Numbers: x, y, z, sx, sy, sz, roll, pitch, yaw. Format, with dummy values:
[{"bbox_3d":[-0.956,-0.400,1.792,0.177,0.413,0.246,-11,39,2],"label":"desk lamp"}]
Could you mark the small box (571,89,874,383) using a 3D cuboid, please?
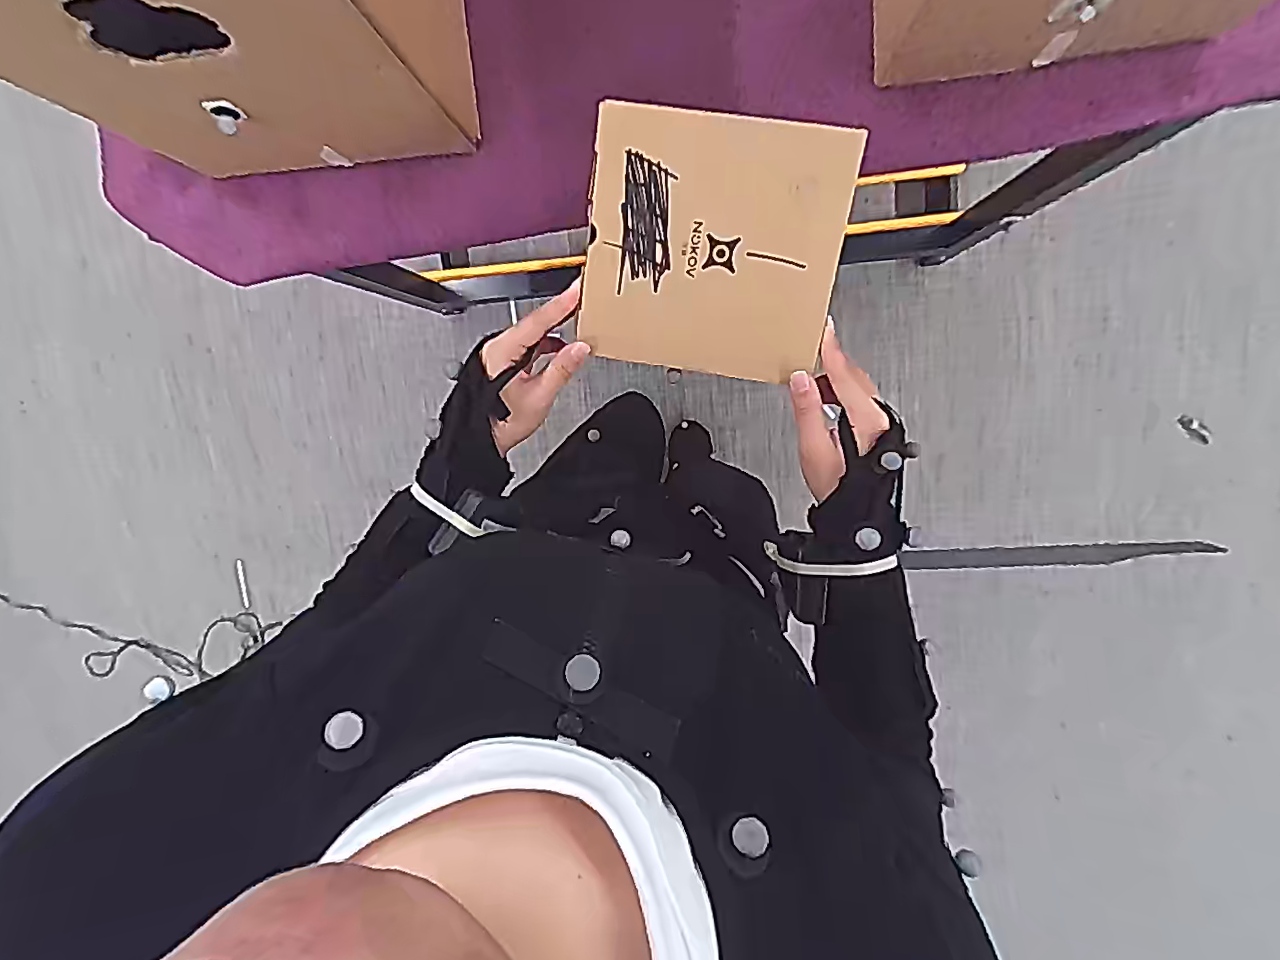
[{"bbox_3d":[0.056,-0.177,0.436,0.179,0.176,0.168,10,105,4],"label":"small box"}]
